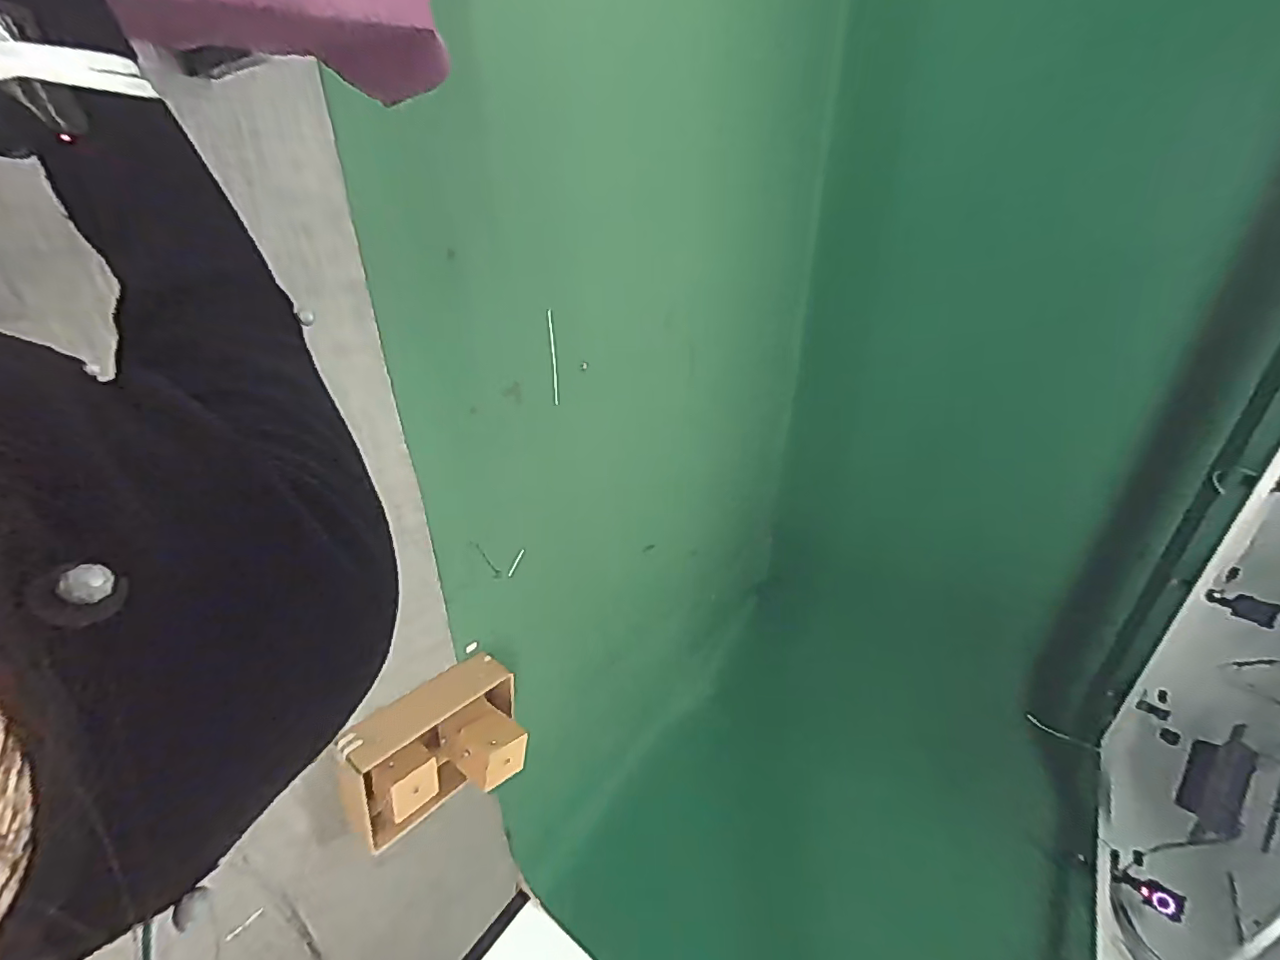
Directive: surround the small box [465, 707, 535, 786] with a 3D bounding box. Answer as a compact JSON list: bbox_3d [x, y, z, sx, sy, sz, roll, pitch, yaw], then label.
[{"bbox_3d":[-0.518,0.977,2.001,0.179,0.176,0.168,-8,113,-51],"label":"small box"}]
